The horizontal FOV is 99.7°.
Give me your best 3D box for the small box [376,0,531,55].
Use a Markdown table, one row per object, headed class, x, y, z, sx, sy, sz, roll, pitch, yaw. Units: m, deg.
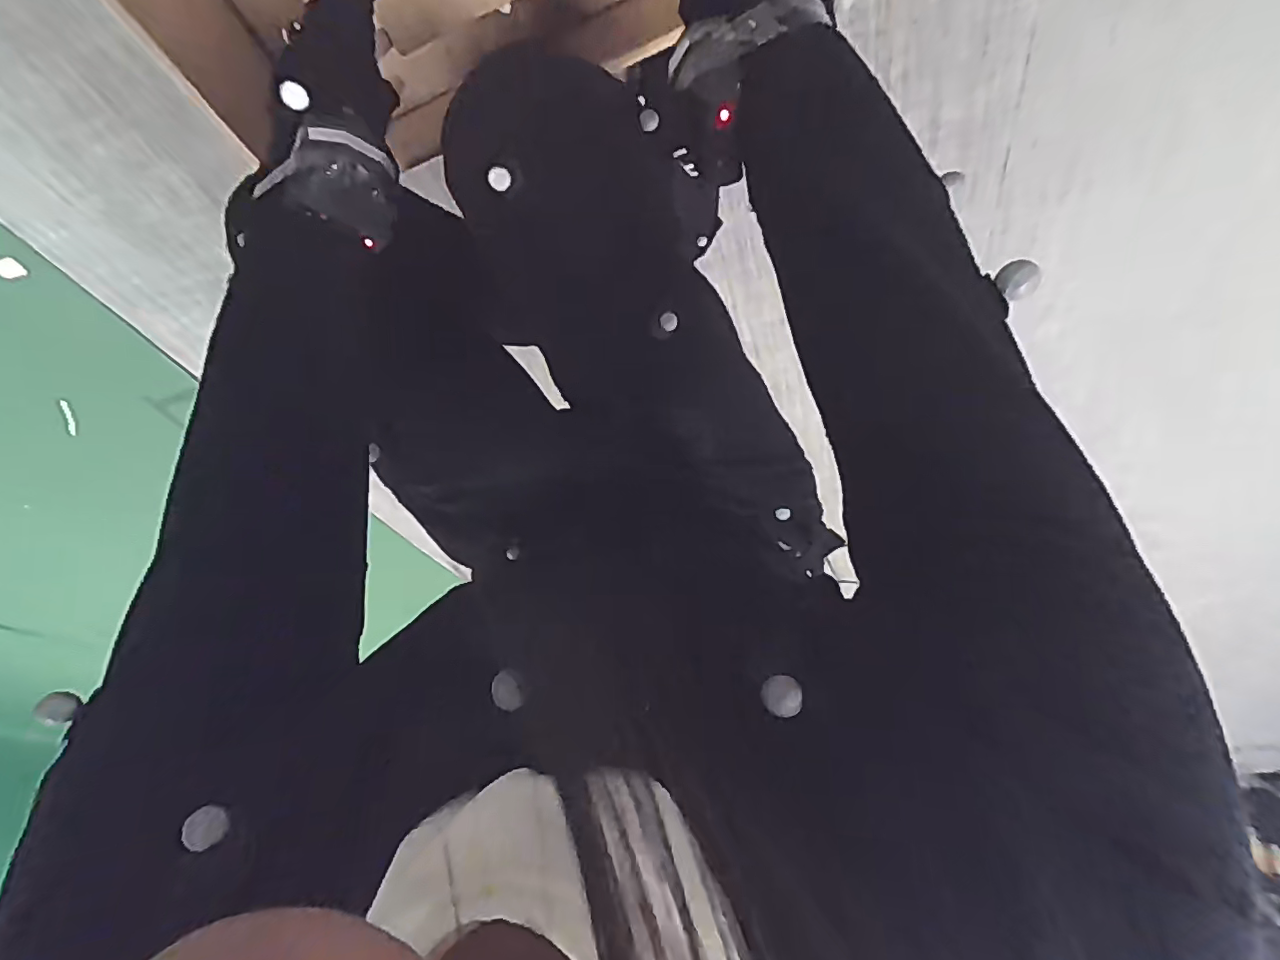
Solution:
| class | x | y | z | sx | sy | sz | roll | pitch | yaw |
| --- | --- | --- | --- | --- | --- | --- | --- | --- | --- |
| small box | -0.139 | -0.480 | 0.419 | 0.179 | 0.176 | 0.168 | -11 | 140 | 15 |
